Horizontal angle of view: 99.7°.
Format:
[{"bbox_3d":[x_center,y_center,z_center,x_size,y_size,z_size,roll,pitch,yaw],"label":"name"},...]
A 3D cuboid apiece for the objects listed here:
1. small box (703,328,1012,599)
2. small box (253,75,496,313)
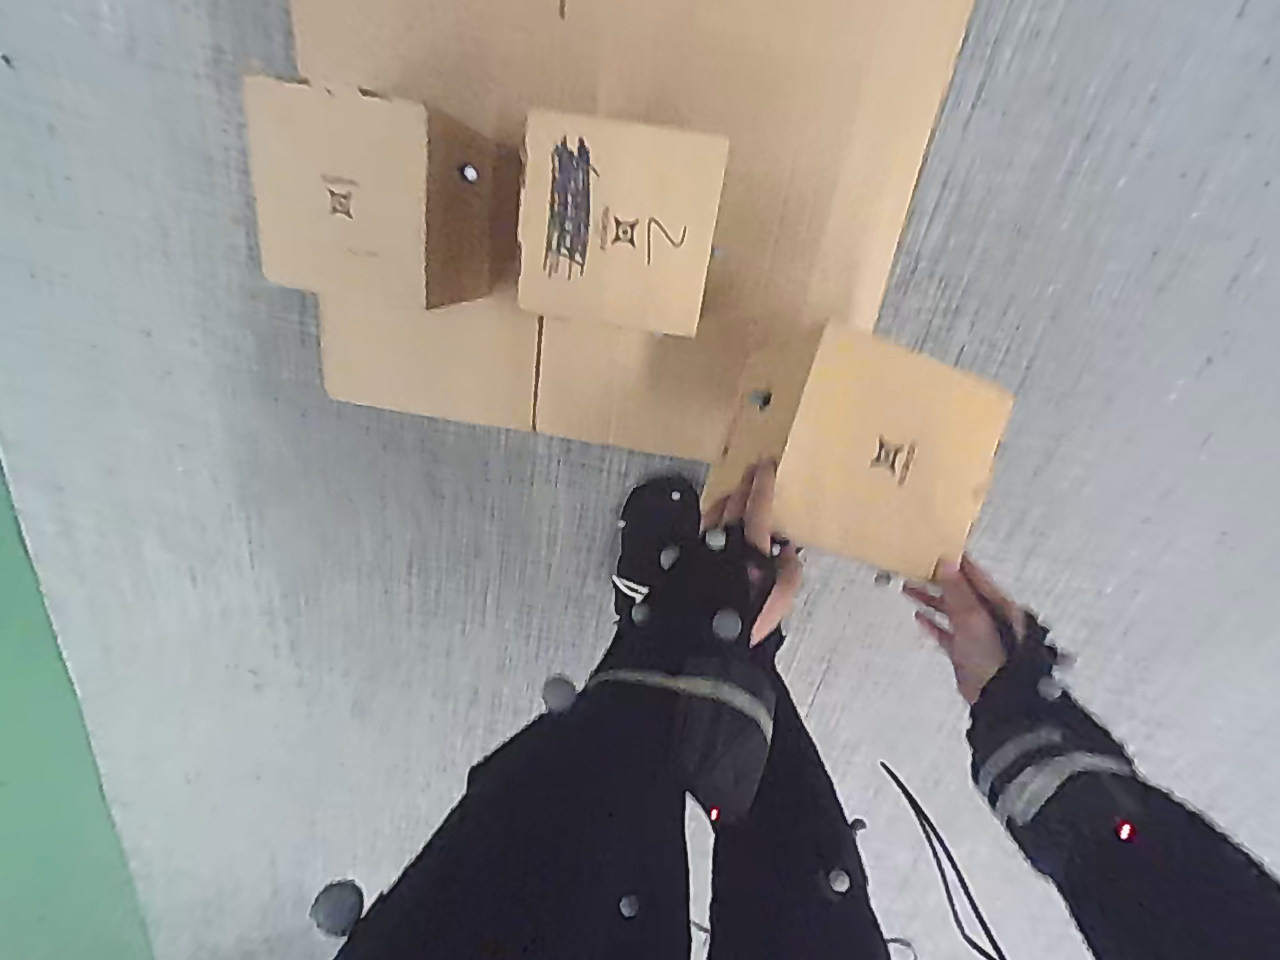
[{"bbox_3d":[0.177,-0.011,0.492,0.179,0.176,0.168,20,88,-11],"label":"small box"},{"bbox_3d":[-0.260,-0.287,0.571,0.168,0.176,0.179,11,114,2],"label":"small box"}]
